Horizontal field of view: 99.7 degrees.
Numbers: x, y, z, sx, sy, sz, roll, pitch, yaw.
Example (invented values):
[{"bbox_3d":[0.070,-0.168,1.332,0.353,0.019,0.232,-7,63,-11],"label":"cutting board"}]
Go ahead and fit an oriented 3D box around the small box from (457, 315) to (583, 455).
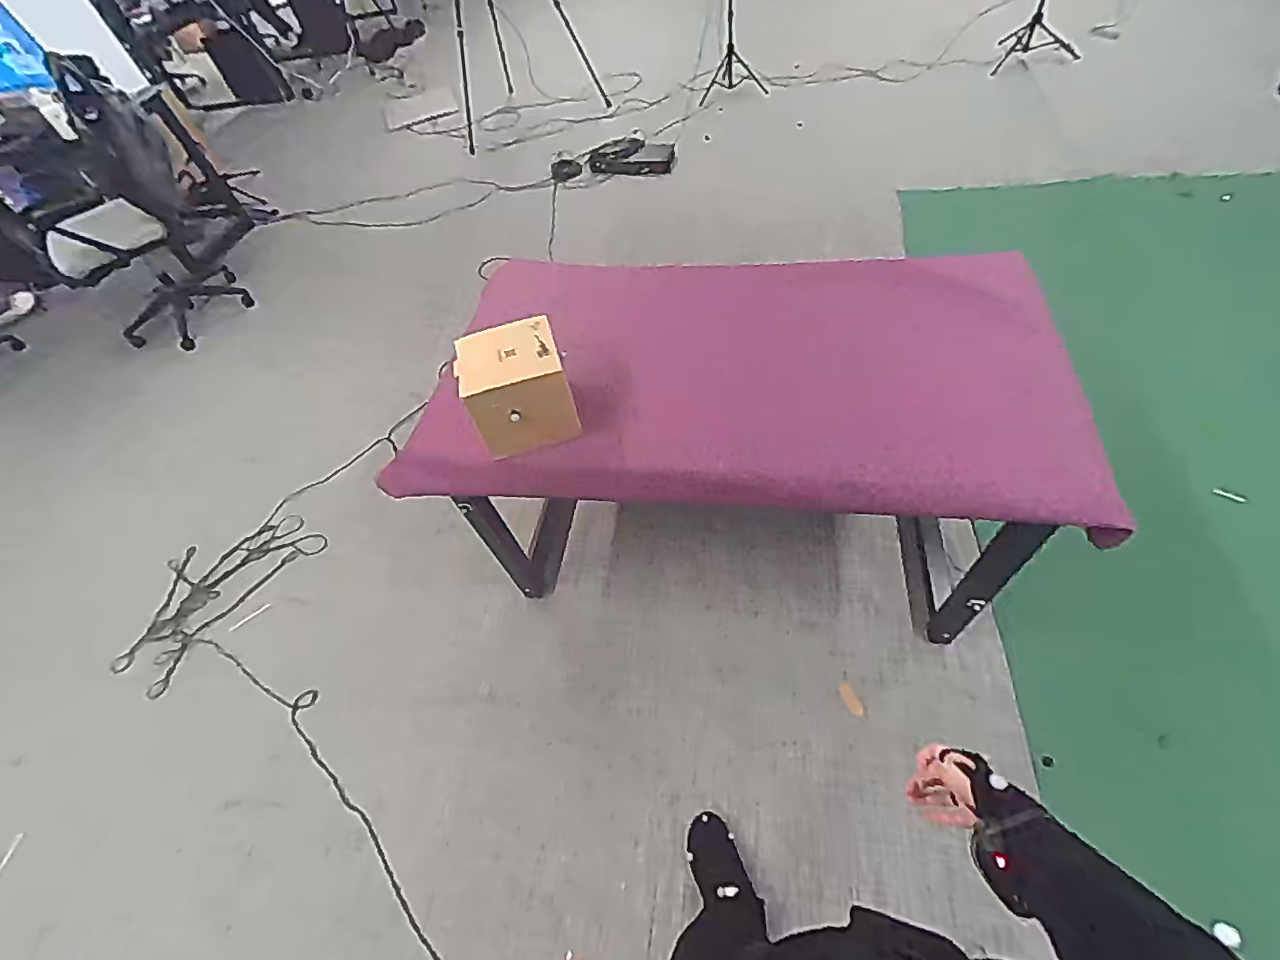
[{"bbox_3d":[-0.220,-0.170,1.001,0.179,0.176,0.168,-17,53,-3],"label":"small box"}]
